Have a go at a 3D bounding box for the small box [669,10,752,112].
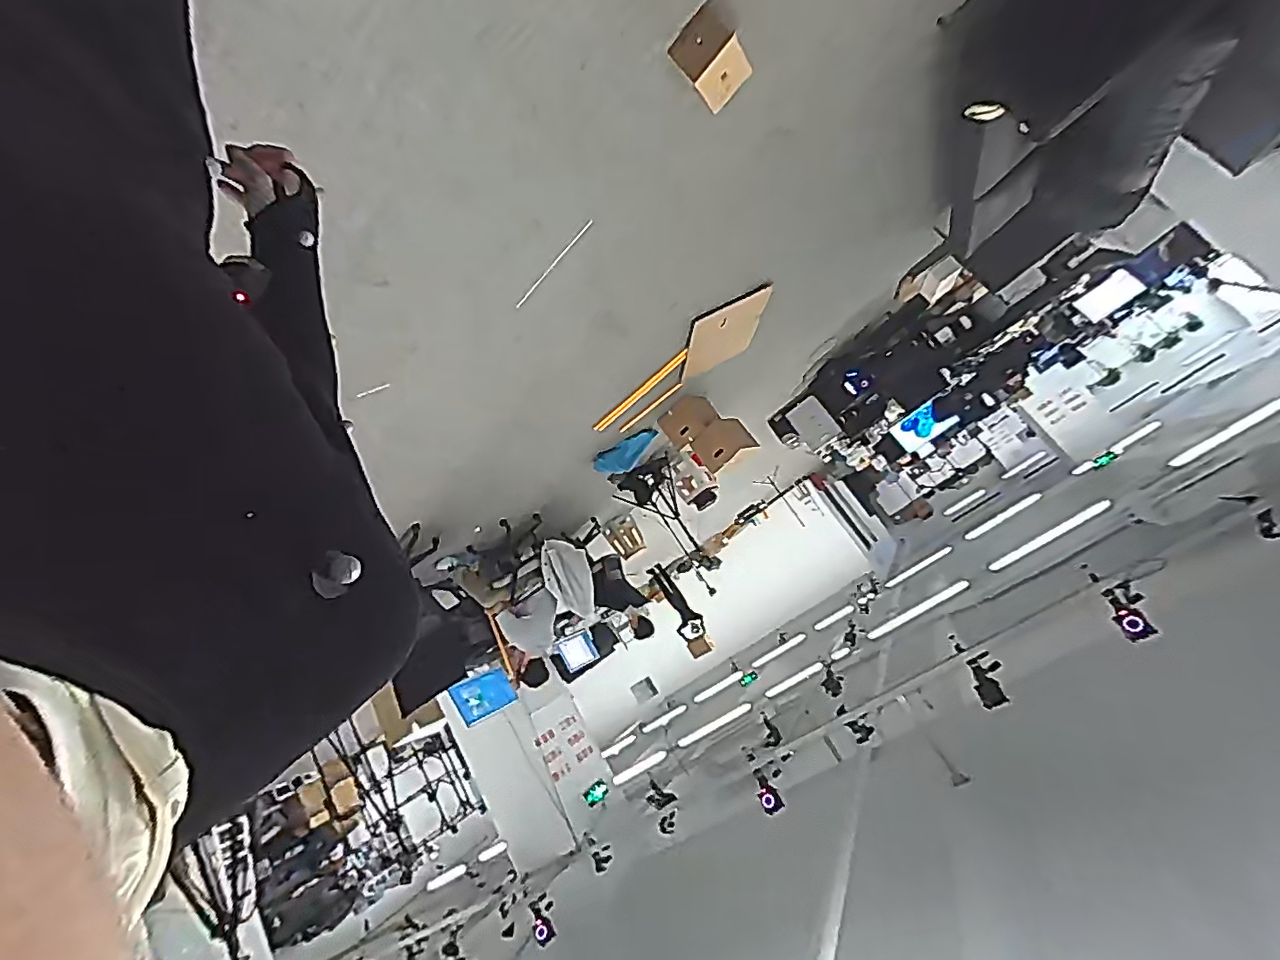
[{"bbox_3d":[0.222,-1.340,1.725,0.168,0.176,0.179,-41,163,25],"label":"small box"}]
